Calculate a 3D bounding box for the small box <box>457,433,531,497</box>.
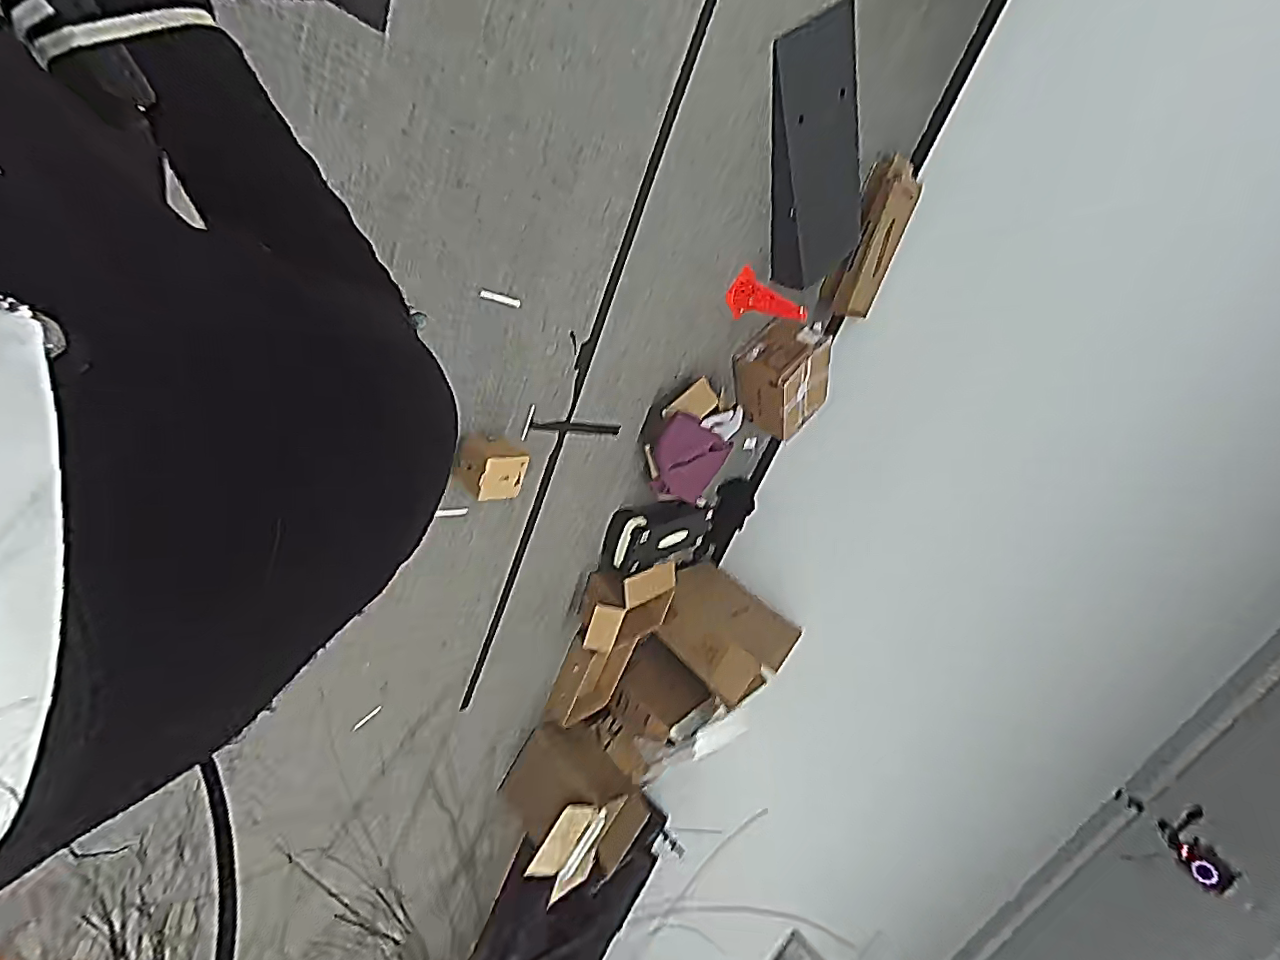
[{"bbox_3d":[-0.521,-0.057,1.909,0.179,0.176,0.168,-6,125,-49],"label":"small box"}]
